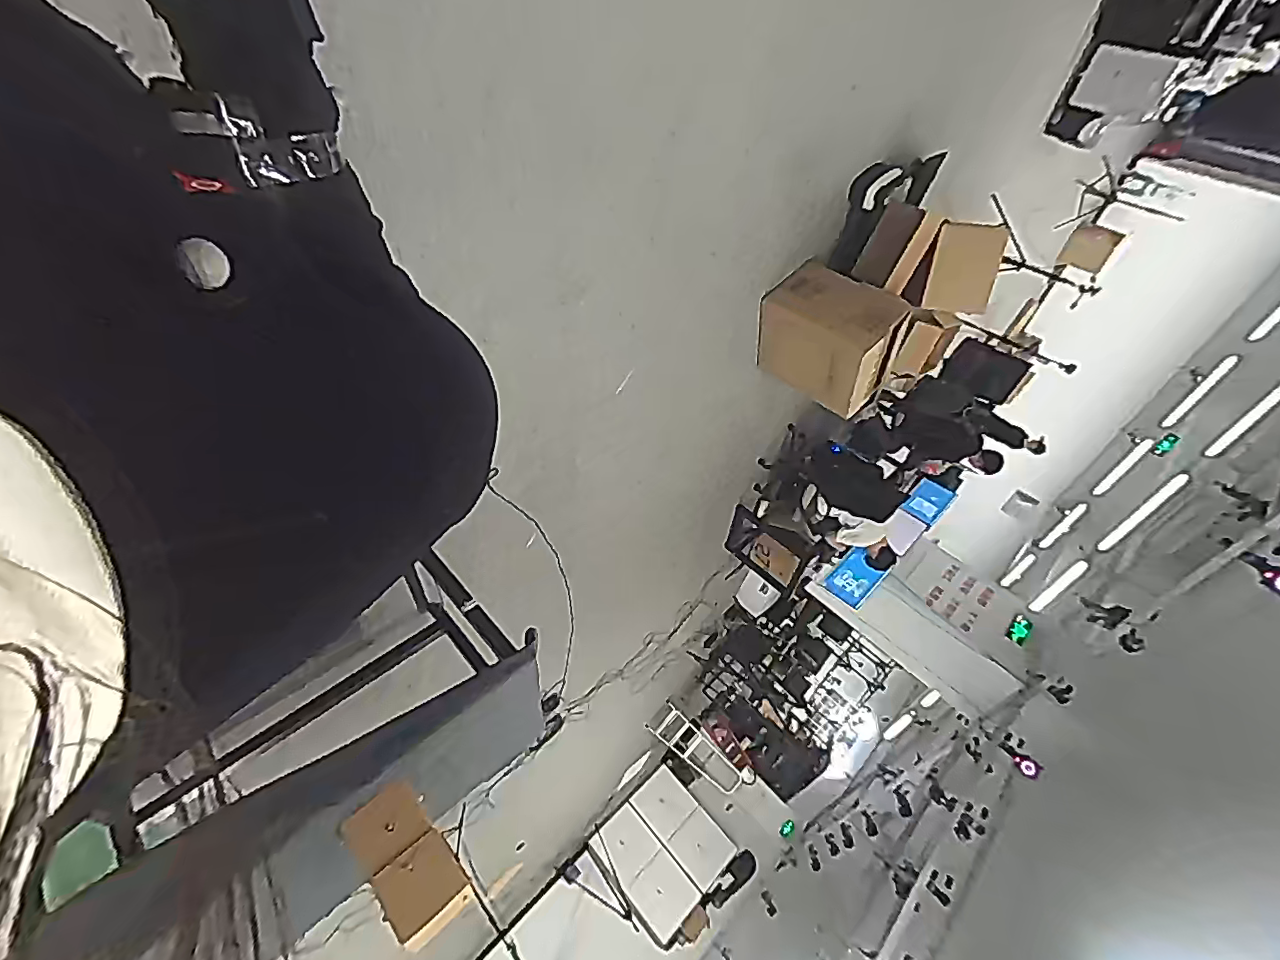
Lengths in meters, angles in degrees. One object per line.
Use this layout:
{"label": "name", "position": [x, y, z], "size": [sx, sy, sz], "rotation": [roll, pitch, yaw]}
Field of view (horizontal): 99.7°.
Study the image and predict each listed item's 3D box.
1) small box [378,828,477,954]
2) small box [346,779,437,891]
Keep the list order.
{"label": "small box", "position": [-0.538, 1.033, 1.365], "size": [0.179, 0.176, 0.168], "rotation": [-30, 147, -34]}
{"label": "small box", "position": [-0.656, 0.949, 1.442], "size": [0.179, 0.176, 0.168], "rotation": [-32, 148, -35]}
